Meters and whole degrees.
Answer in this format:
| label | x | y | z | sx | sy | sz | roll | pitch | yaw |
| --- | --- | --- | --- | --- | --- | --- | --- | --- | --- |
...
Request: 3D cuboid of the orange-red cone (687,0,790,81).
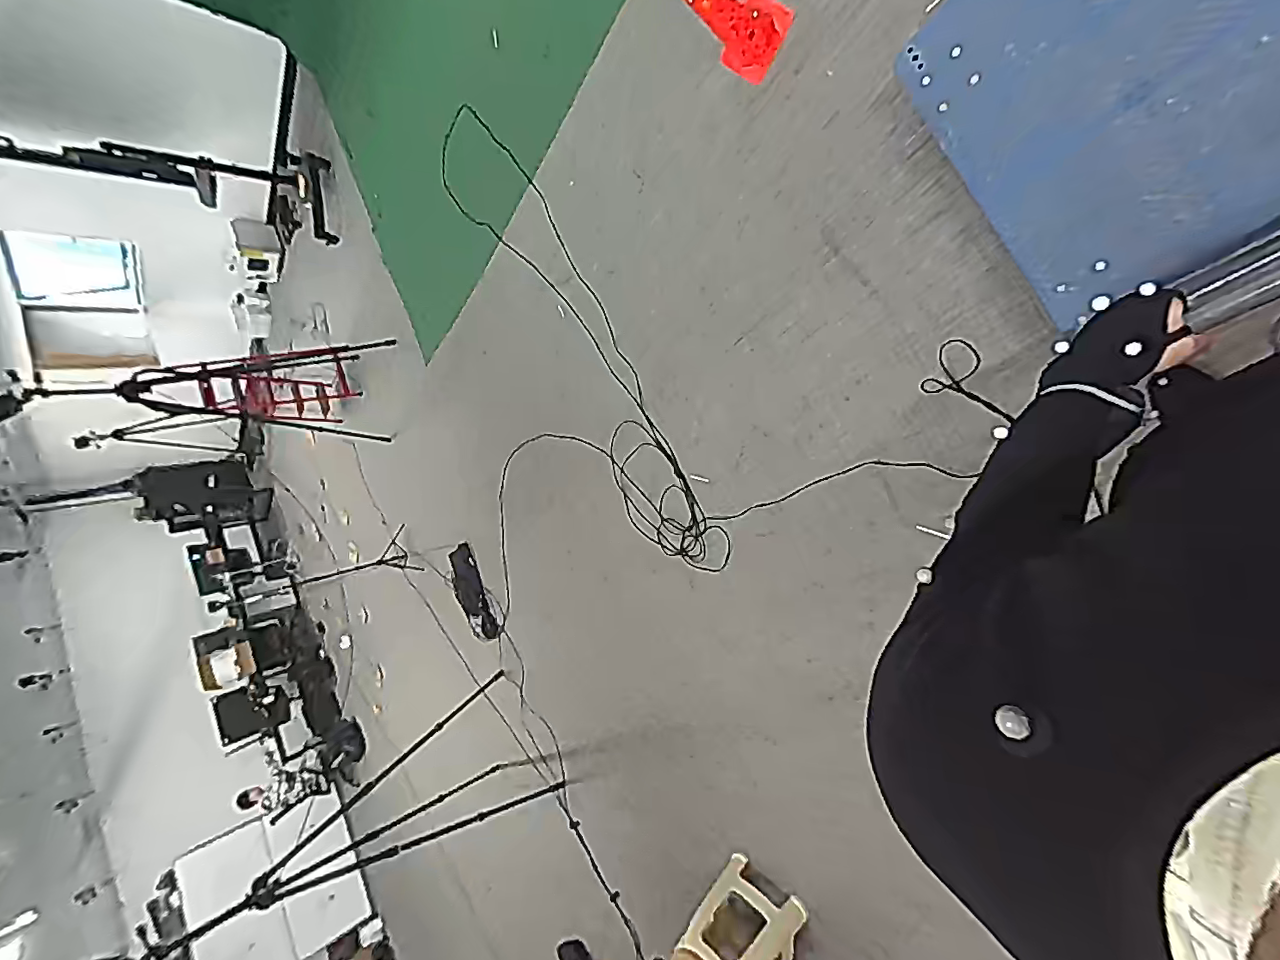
| label | x | y | z | sx | sy | sz | roll | pitch | yaw |
| --- | --- | --- | --- | --- | --- | --- | --- | --- | --- |
| orange-red cone | 0.236 | -1.359 | 1.572 | 0.198 | 0.360 | 0.199 | 54 | 133 | 23 |
